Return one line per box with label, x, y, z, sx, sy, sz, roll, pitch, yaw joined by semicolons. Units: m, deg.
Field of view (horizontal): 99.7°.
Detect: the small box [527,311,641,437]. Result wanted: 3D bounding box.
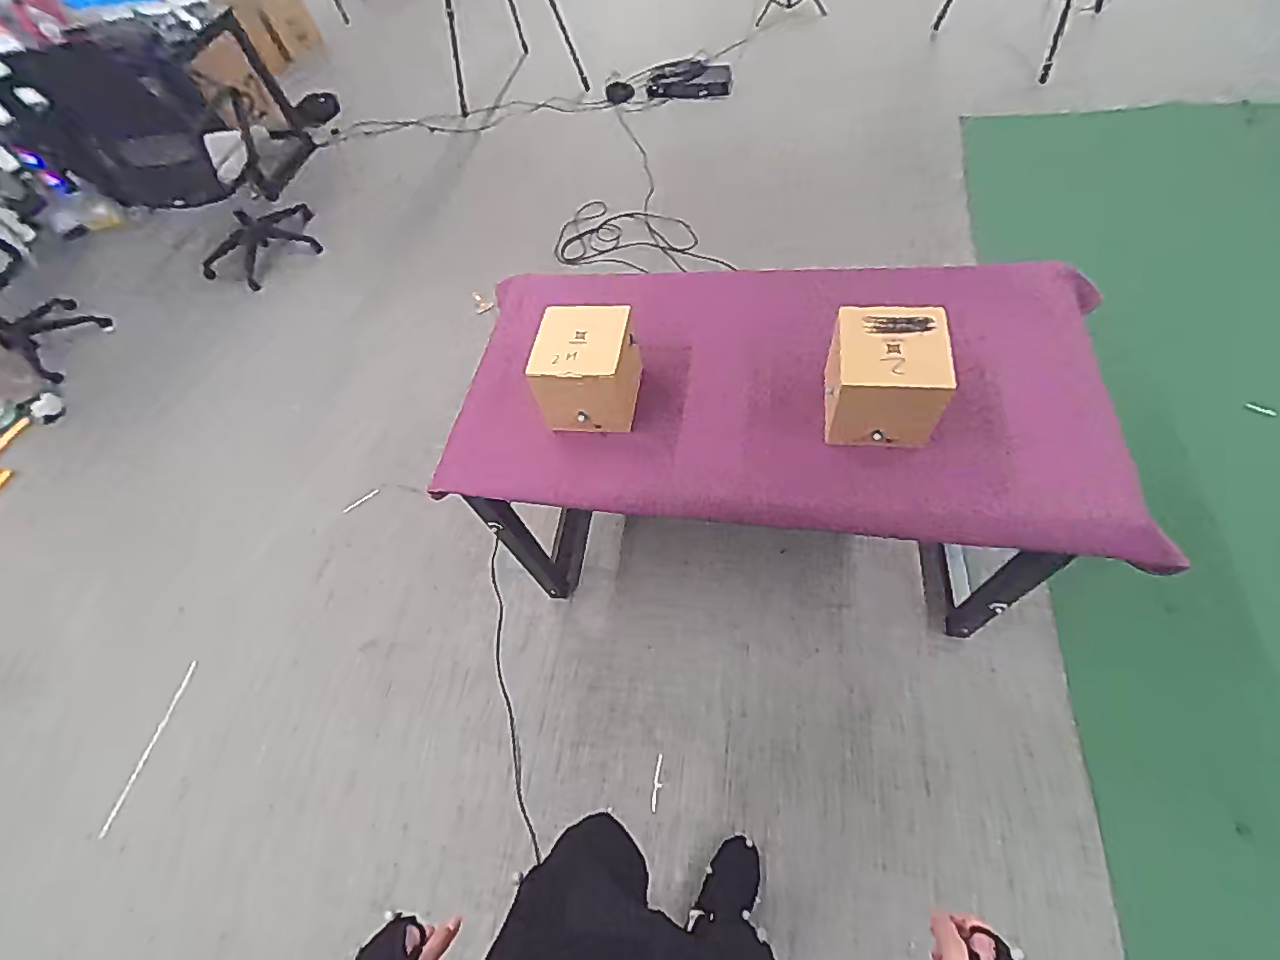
small box;-0.098;-0.205;1.049;0.168;0.176;0.179;3;59;12
